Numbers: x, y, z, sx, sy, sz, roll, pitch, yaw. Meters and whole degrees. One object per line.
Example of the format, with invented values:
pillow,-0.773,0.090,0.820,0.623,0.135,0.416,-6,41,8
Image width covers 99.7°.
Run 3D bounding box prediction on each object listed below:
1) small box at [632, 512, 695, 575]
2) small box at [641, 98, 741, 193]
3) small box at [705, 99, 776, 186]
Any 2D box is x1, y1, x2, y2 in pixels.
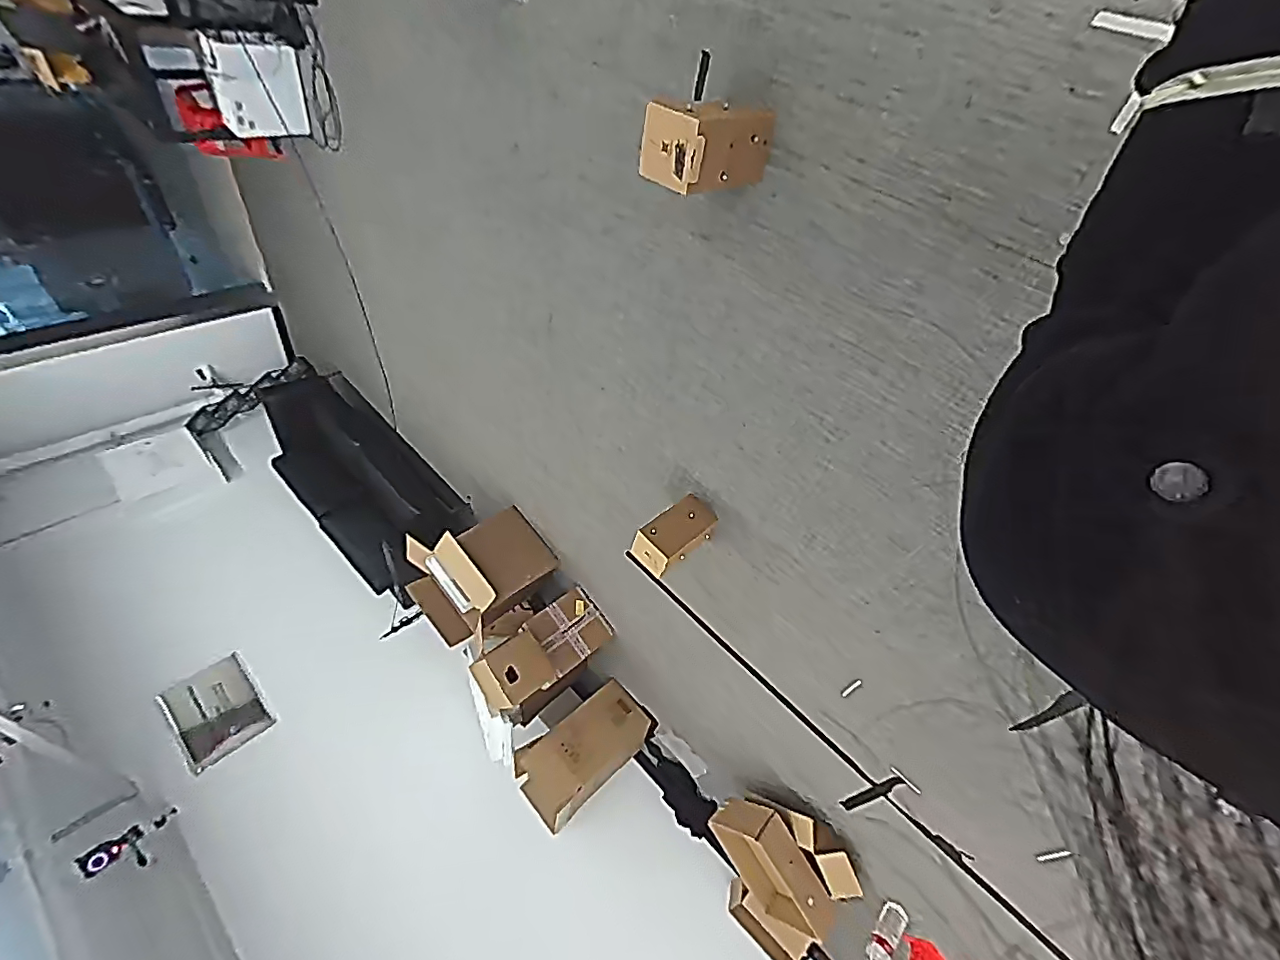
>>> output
small box,0.098,0.257,2.256,0.179,0.176,0.168,43,143,19
small box,0.131,-0.859,1.378,0.179,0.176,0.168,39,140,25
small box,0.243,-0.928,1.478,0.179,0.176,0.168,39,140,26
